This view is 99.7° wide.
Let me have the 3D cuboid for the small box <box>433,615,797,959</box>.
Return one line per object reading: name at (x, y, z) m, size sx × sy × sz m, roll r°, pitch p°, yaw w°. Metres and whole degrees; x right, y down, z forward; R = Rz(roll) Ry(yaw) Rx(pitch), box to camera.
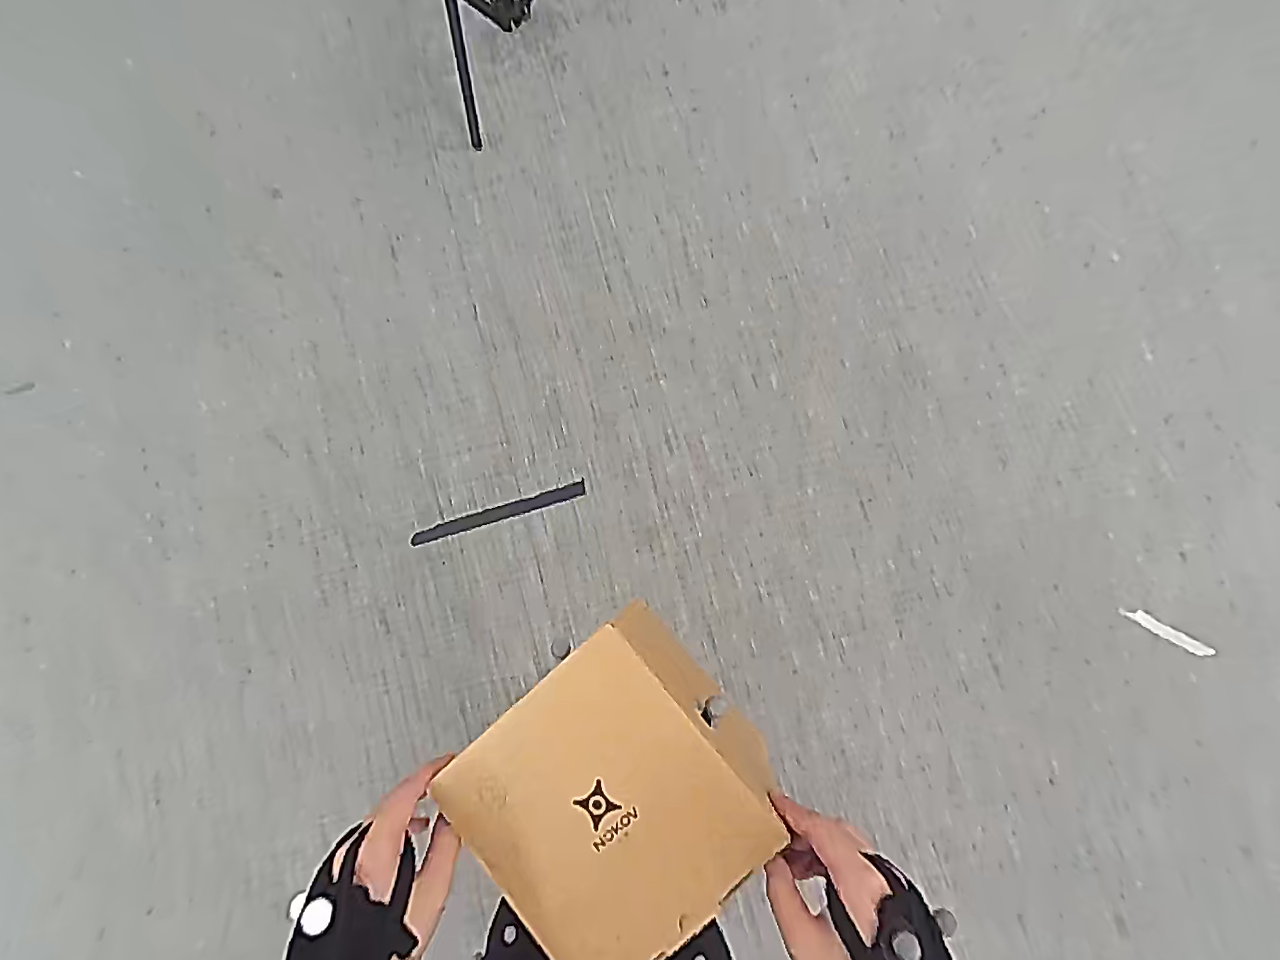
small box at (-0.013, 0.222, 0.418) m, size 0.168 × 0.176 × 0.179 m, roll -42°, pitch 82°, yaw 0°
